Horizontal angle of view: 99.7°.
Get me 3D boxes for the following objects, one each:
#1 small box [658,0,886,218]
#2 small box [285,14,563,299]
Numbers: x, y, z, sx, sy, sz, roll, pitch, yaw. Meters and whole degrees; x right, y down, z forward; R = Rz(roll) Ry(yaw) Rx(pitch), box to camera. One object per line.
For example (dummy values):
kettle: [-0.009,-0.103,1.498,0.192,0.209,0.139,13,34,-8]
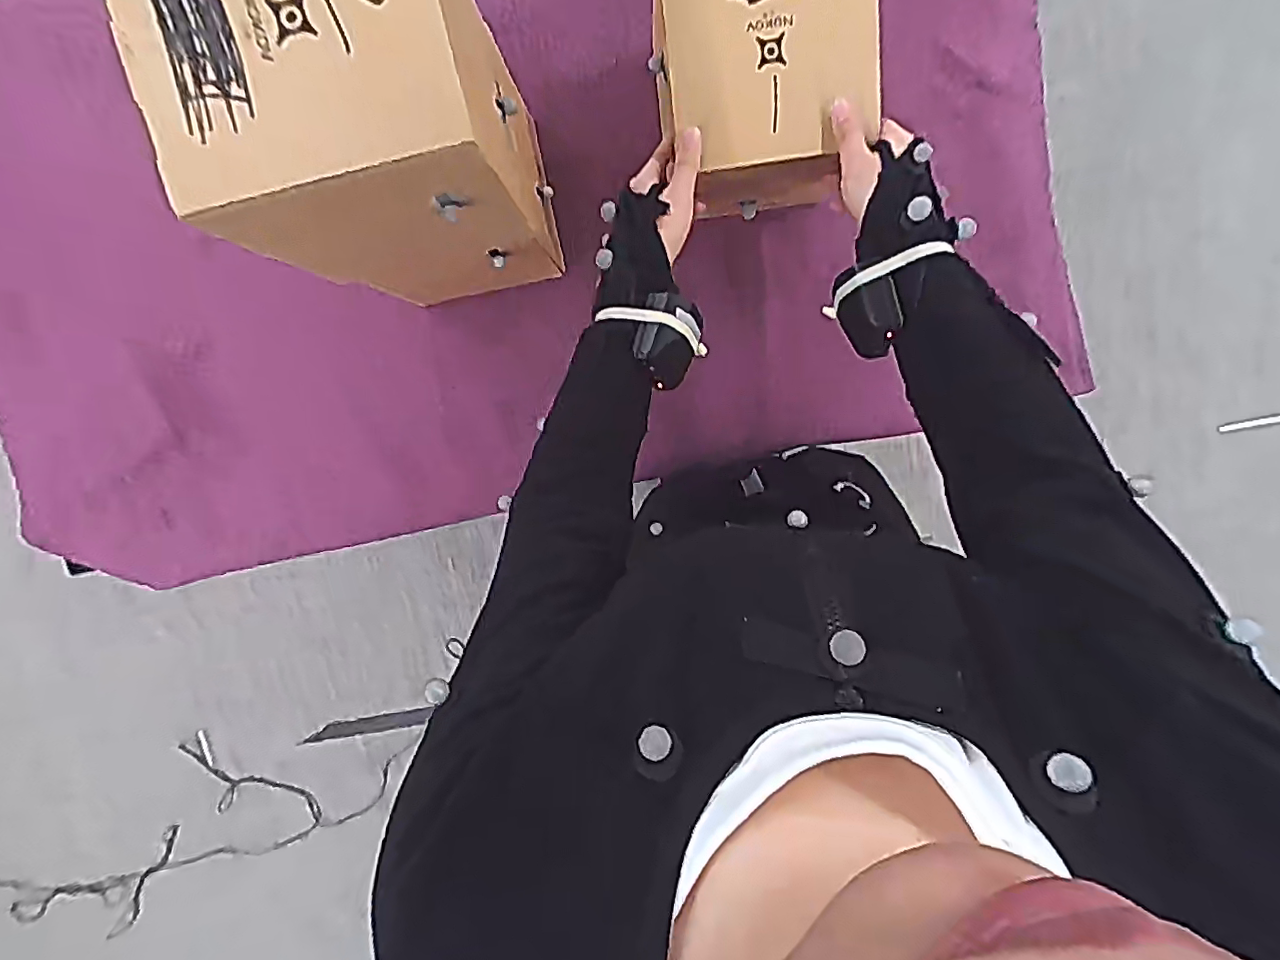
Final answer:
small box: [0.107,-0.361,0.494,0.168,0.176,0.179,-7,104,3]
small box: [-0.186,-0.285,0.522,0.179,0.176,0.168,-12,98,2]
